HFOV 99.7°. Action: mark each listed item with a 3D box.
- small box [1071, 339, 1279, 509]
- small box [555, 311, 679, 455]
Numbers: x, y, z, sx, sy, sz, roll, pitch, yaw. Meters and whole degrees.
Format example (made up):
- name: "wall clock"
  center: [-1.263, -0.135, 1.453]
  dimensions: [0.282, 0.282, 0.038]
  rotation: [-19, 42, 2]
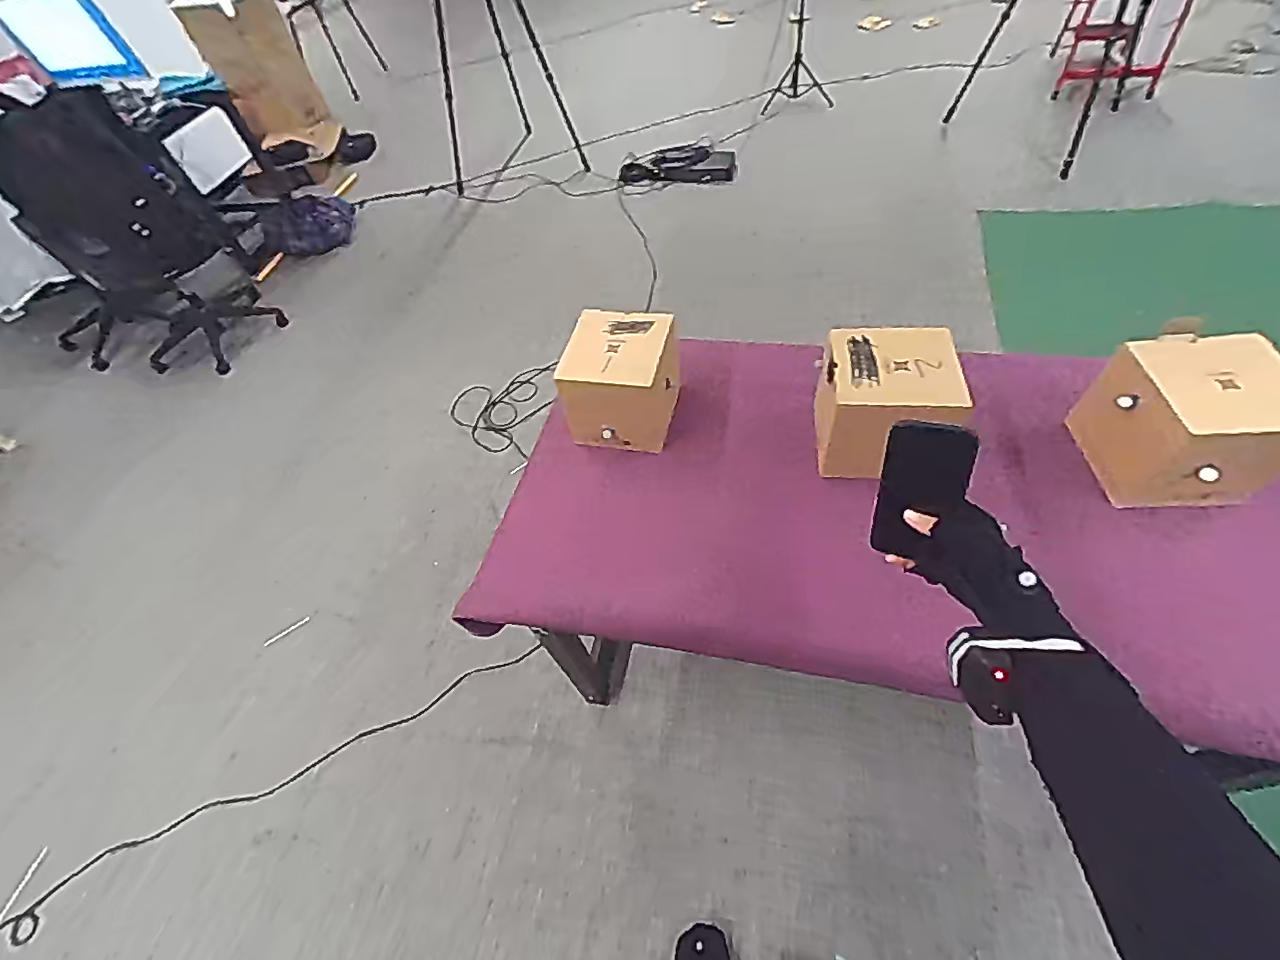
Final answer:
- name: "small box"
  center: [0.756, -0.069, 0.751]
  dimensions: [0.168, 0.176, 0.179]
  rotation: [-2, 52, 8]
- name: "small box"
  center: [-0.028, -0.169, 0.946]
  dimensions: [0.168, 0.176, 0.179]
  rotation: [8, 57, 14]
